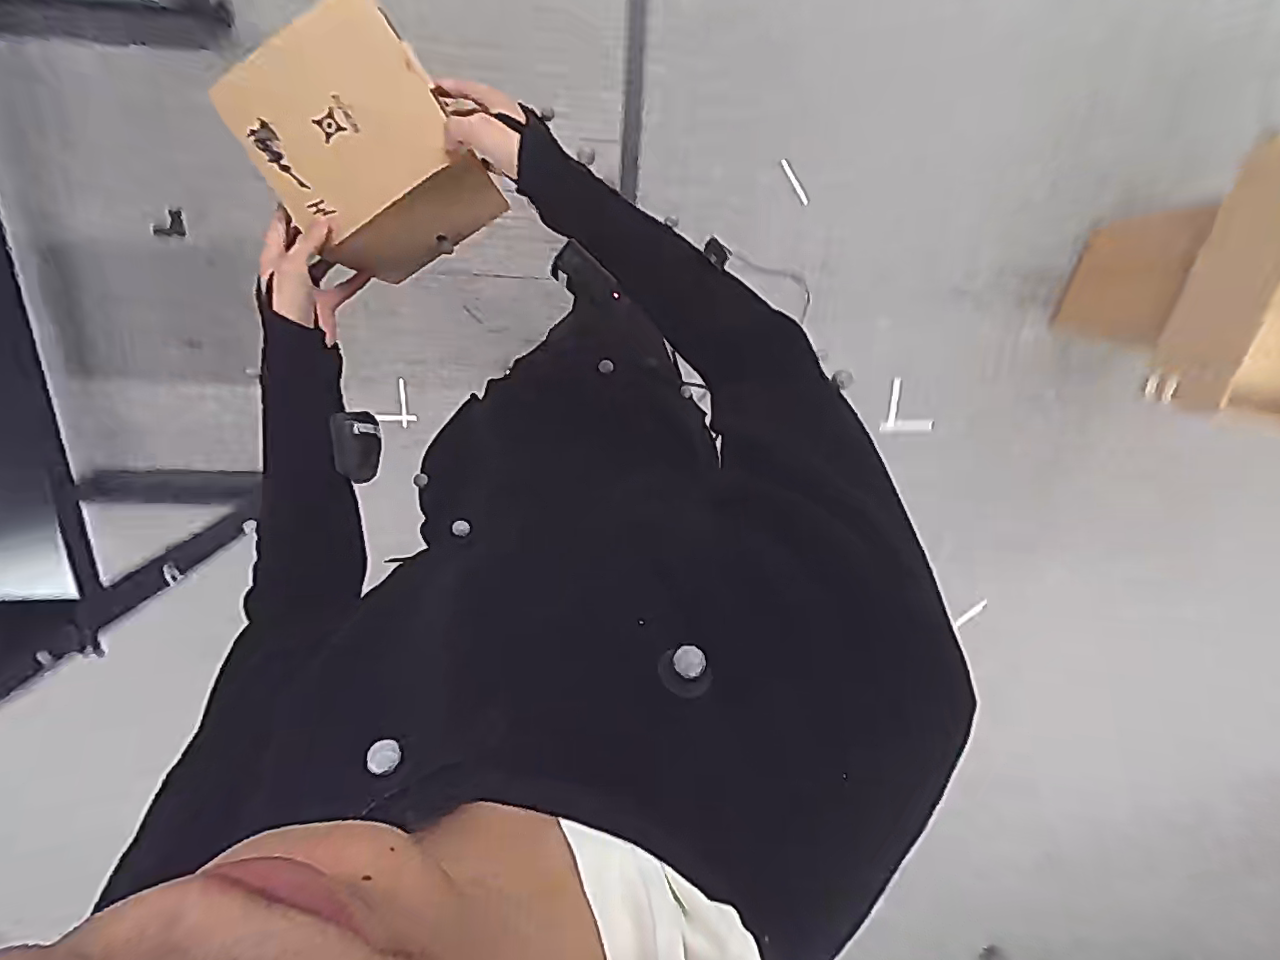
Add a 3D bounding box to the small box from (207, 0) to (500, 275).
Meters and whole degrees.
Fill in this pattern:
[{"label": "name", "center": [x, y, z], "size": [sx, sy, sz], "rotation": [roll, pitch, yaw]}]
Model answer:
[{"label": "small box", "center": [-0.262, -0.337, 0.550], "size": [0.179, 0.176, 0.168], "rotation": [-31, 99, 5]}]
